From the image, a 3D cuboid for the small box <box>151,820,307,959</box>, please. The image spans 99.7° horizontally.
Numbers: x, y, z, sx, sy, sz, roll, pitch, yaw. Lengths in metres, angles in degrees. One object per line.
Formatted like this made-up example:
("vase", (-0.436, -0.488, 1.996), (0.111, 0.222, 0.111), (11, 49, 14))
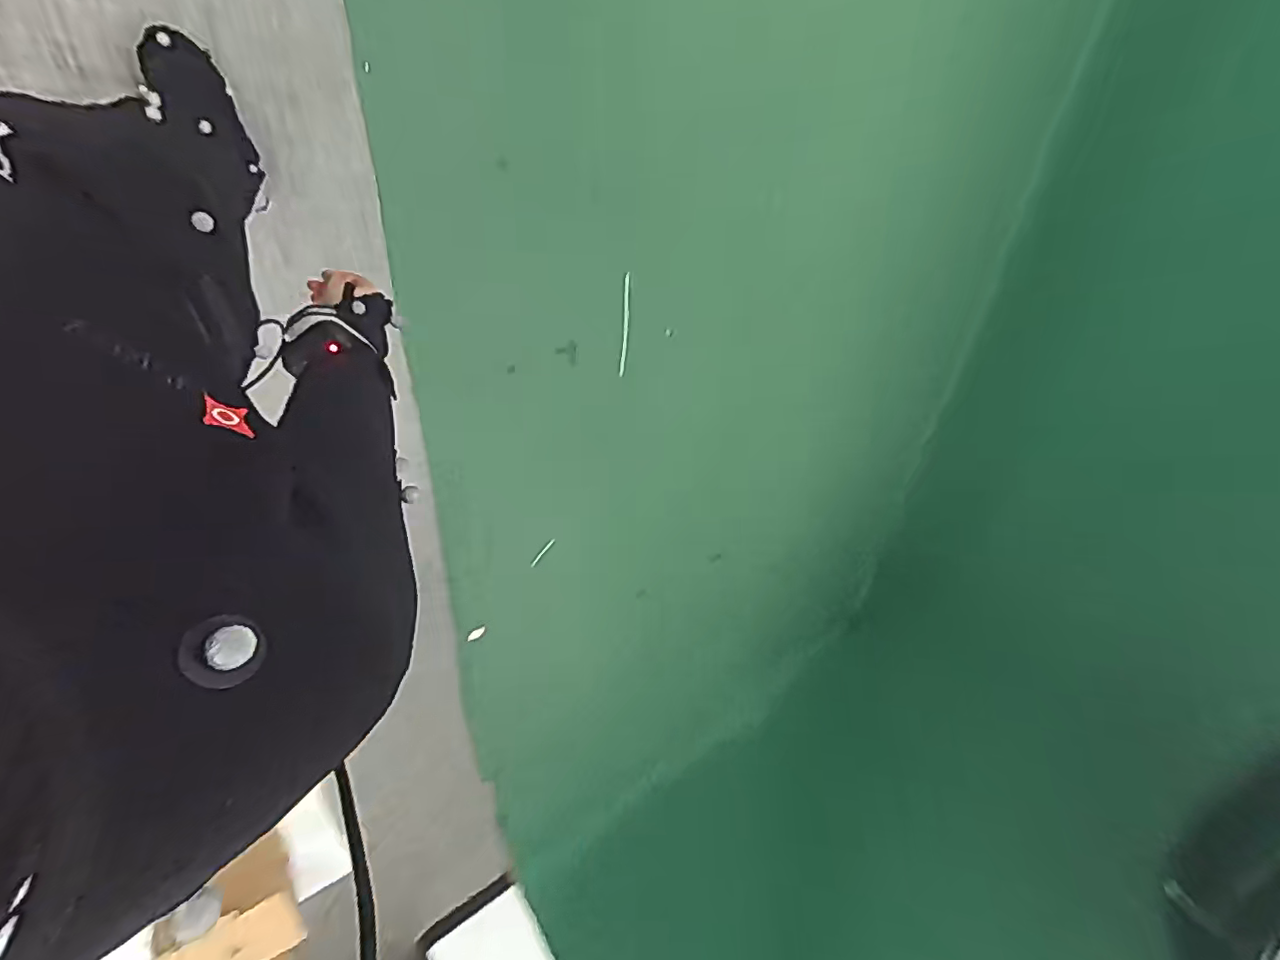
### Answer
("small box", (-0.670, 0.702, 0.885), (0.168, 0.176, 0.179), (-16, 129, -32))
